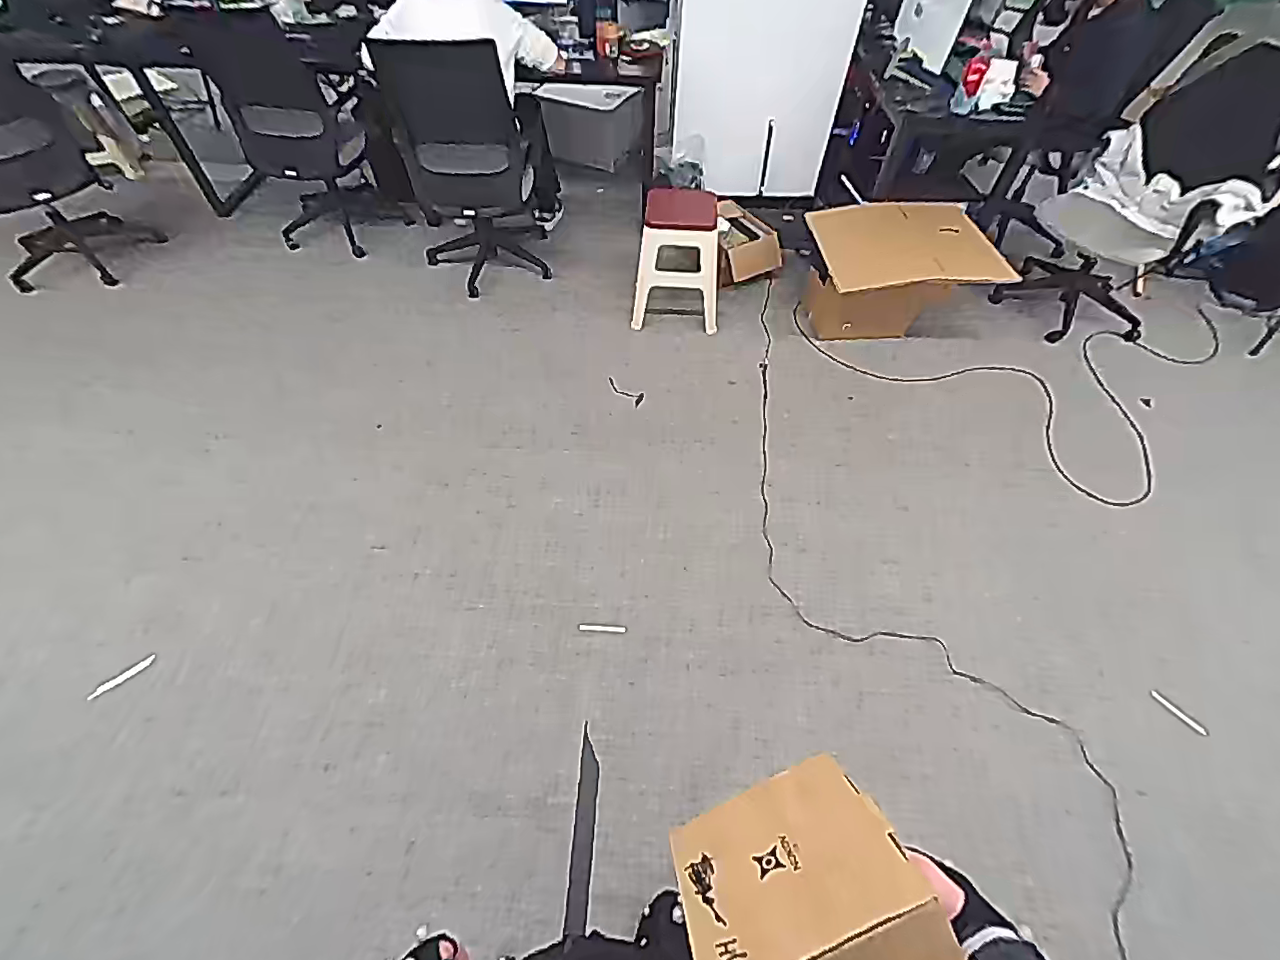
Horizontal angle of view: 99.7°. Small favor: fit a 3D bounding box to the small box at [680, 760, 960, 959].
[{"bbox_3d":[0.155,0.392,0.462,0.179,0.168,0.176,-24,96,-3],"label":"small box"}]
